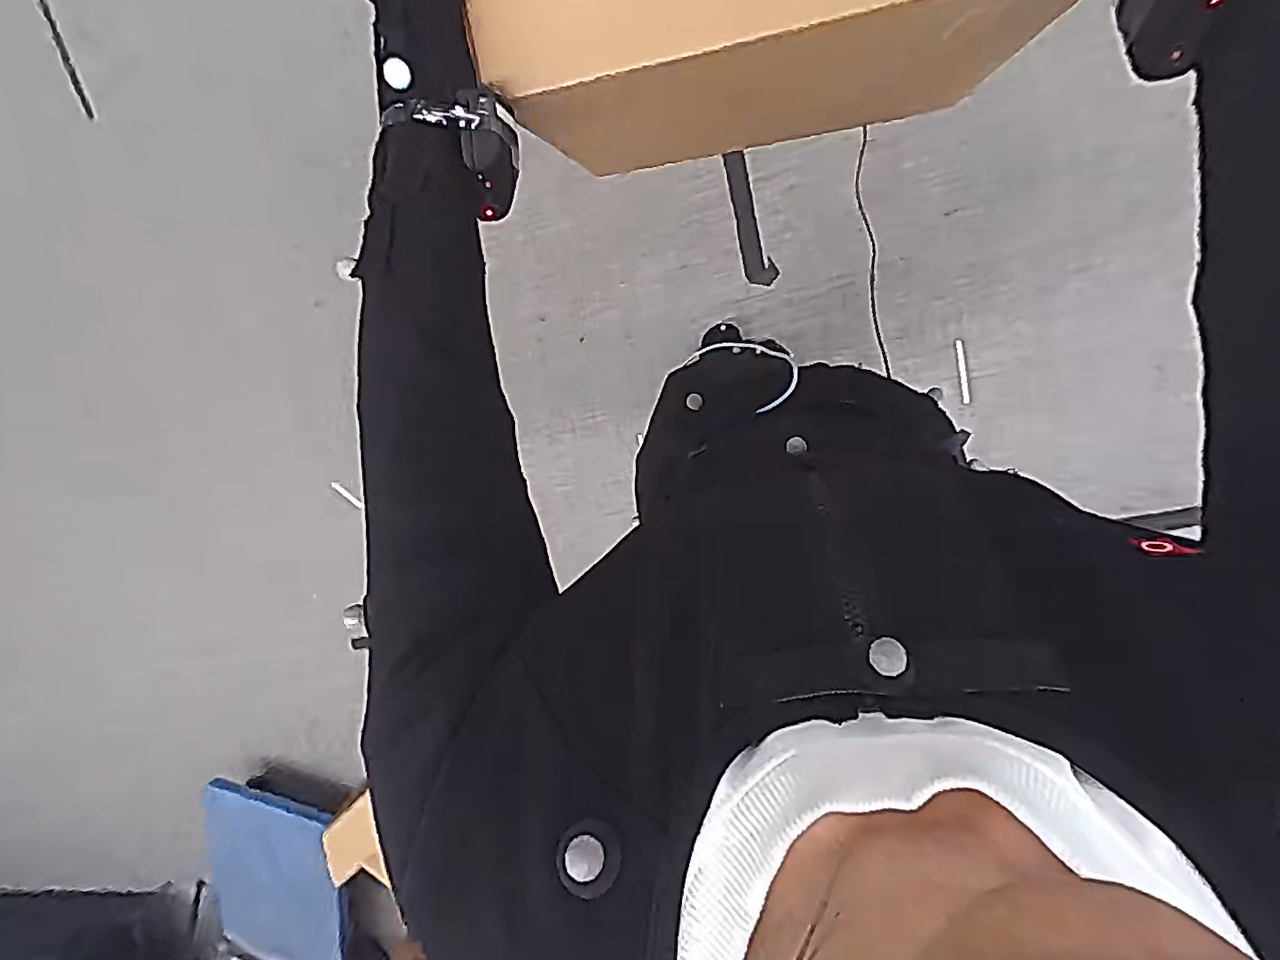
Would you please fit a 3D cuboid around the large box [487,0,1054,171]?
[{"bbox_3d":[0.096,-0.487,0.438,0.408,0.320,0.320,-4,110,12],"label":"large box"}]
